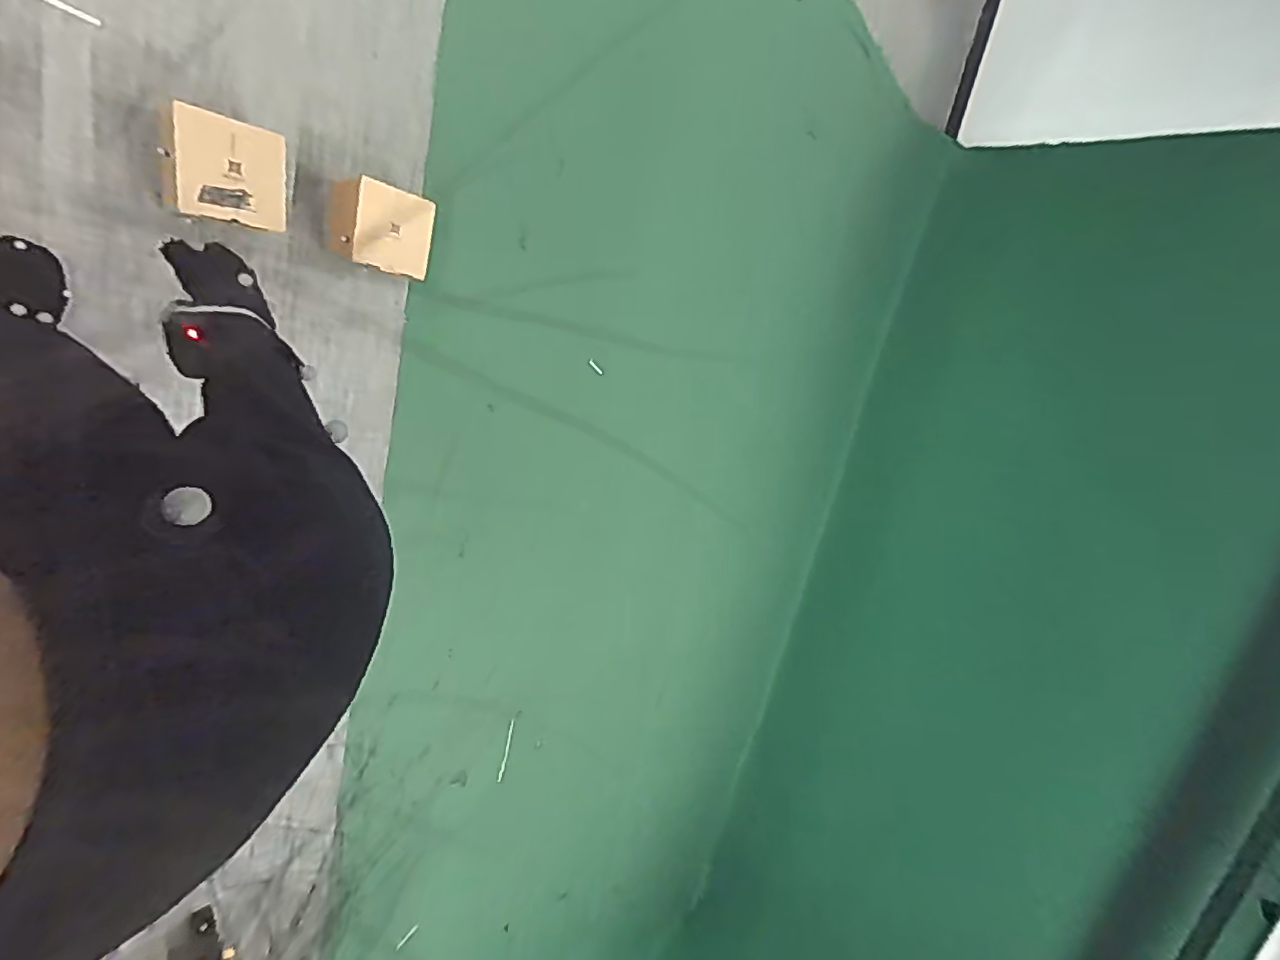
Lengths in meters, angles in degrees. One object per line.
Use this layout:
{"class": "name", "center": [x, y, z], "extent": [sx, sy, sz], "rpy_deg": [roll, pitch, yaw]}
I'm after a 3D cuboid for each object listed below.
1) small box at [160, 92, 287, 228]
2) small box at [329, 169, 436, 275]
{"class": "small box", "center": [-0.789, -0.592, 1.025], "extent": [0.168, 0.176, 0.179], "rpy_deg": [-7, 113, -47]}
{"class": "small box", "center": [-0.596, -0.588, 1.246], "extent": [0.168, 0.176, 0.179], "rpy_deg": [-1, 109, -47]}
